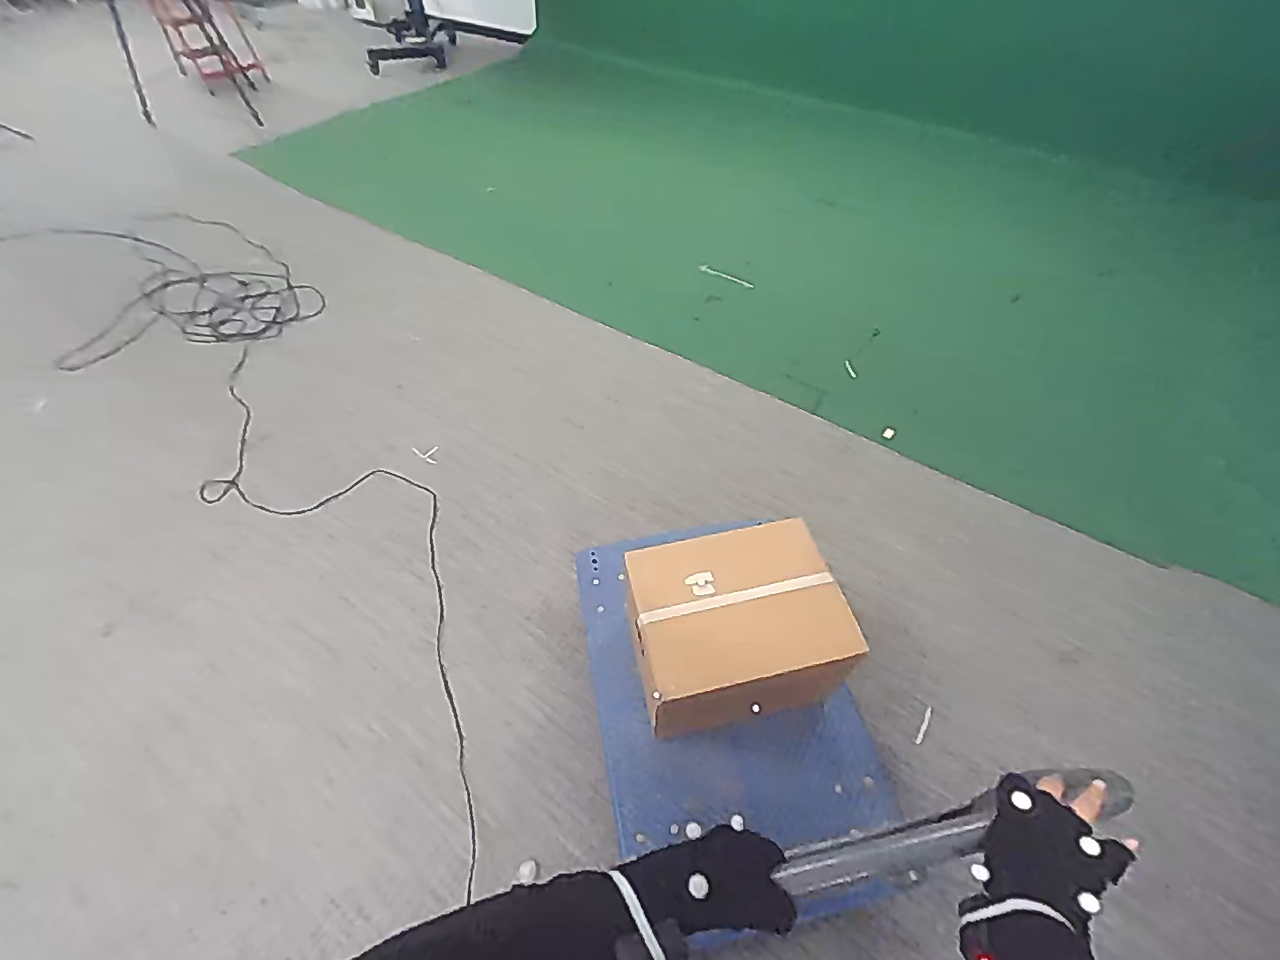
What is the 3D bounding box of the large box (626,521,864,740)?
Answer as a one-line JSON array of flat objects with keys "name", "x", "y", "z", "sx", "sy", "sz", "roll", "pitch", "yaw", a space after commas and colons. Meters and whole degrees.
[{"name": "large box", "x": 0.200, "y": 0.336, "z": 1.195, "sx": 0.408, "sy": 0.320, "sz": 0.320, "roll": -11, "pitch": 53, "yaw": -8}]
